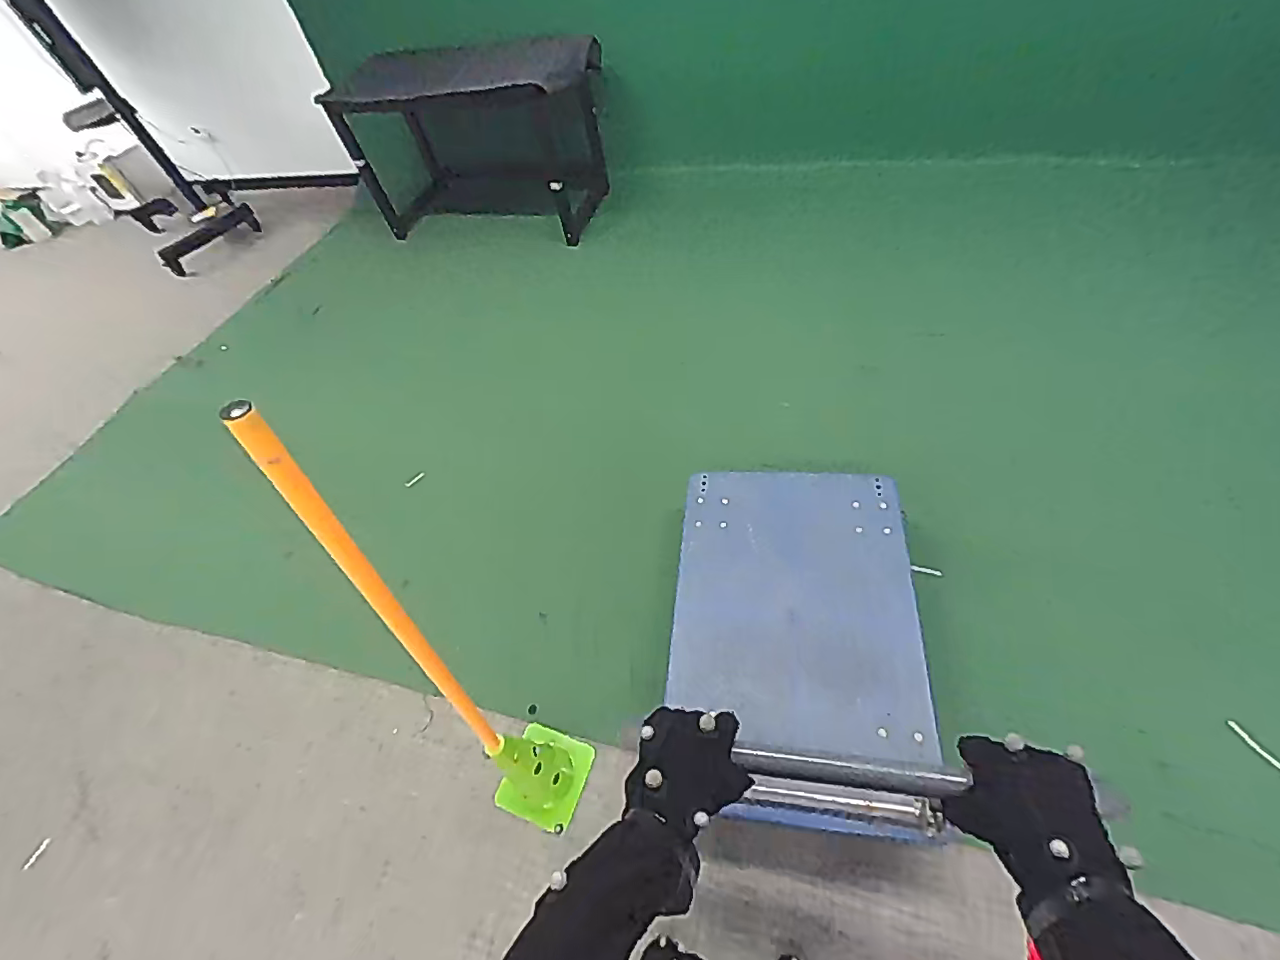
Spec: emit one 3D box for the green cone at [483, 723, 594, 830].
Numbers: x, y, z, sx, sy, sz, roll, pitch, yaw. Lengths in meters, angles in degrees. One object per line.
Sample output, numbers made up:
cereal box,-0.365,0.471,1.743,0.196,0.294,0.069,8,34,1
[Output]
green cone,-0.260,0.625,1.214,0.202,0.368,0.200,11,55,20
